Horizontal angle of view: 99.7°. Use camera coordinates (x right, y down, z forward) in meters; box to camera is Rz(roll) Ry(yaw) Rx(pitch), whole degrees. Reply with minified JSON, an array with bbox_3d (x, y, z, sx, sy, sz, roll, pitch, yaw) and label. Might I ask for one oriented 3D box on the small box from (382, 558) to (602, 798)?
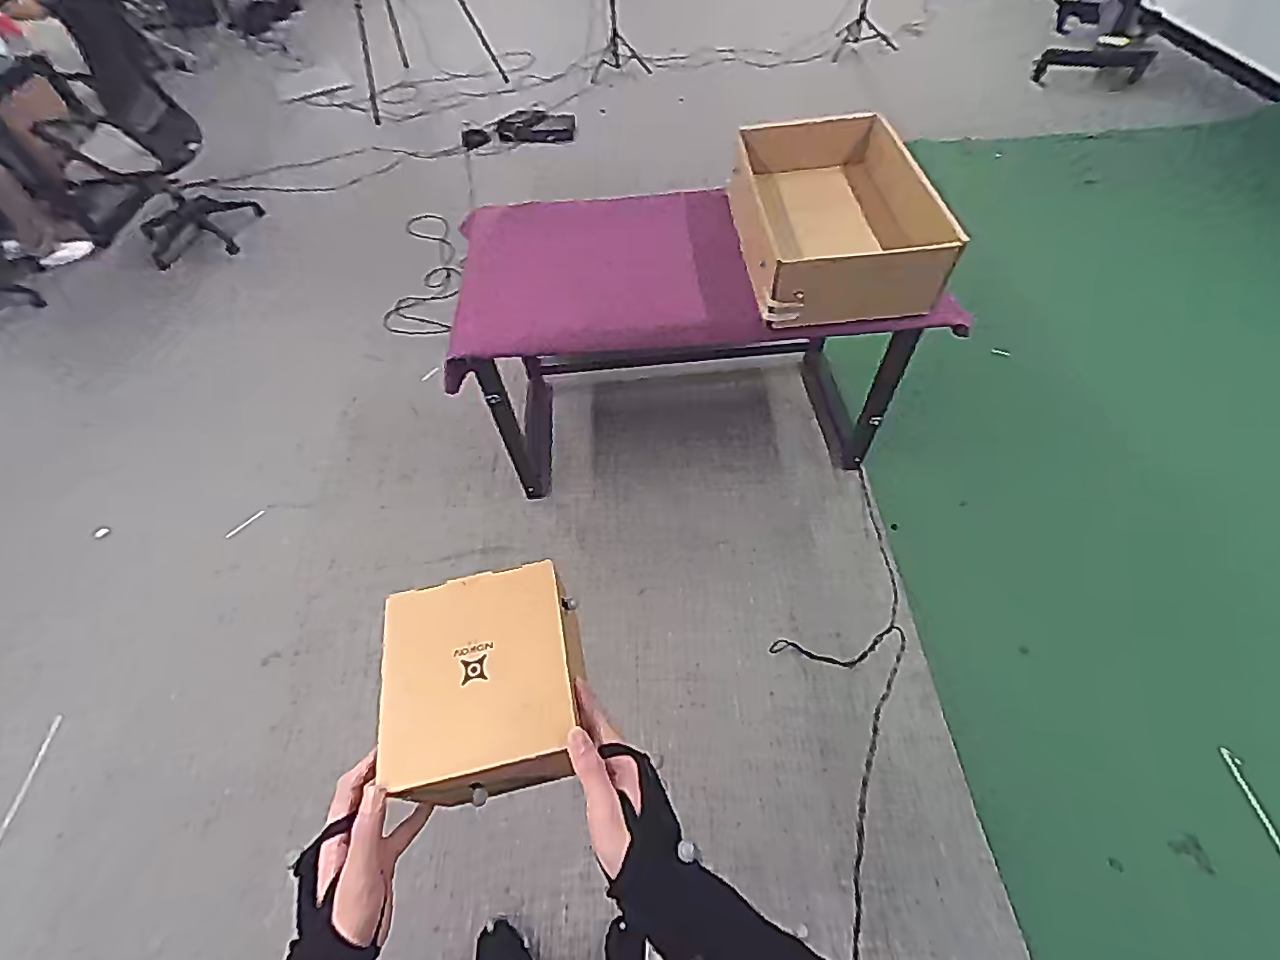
[{"bbox_3d":[-0.138,0.207,0.547,0.168,0.176,0.179,-11,54,-4],"label":"small box"}]
